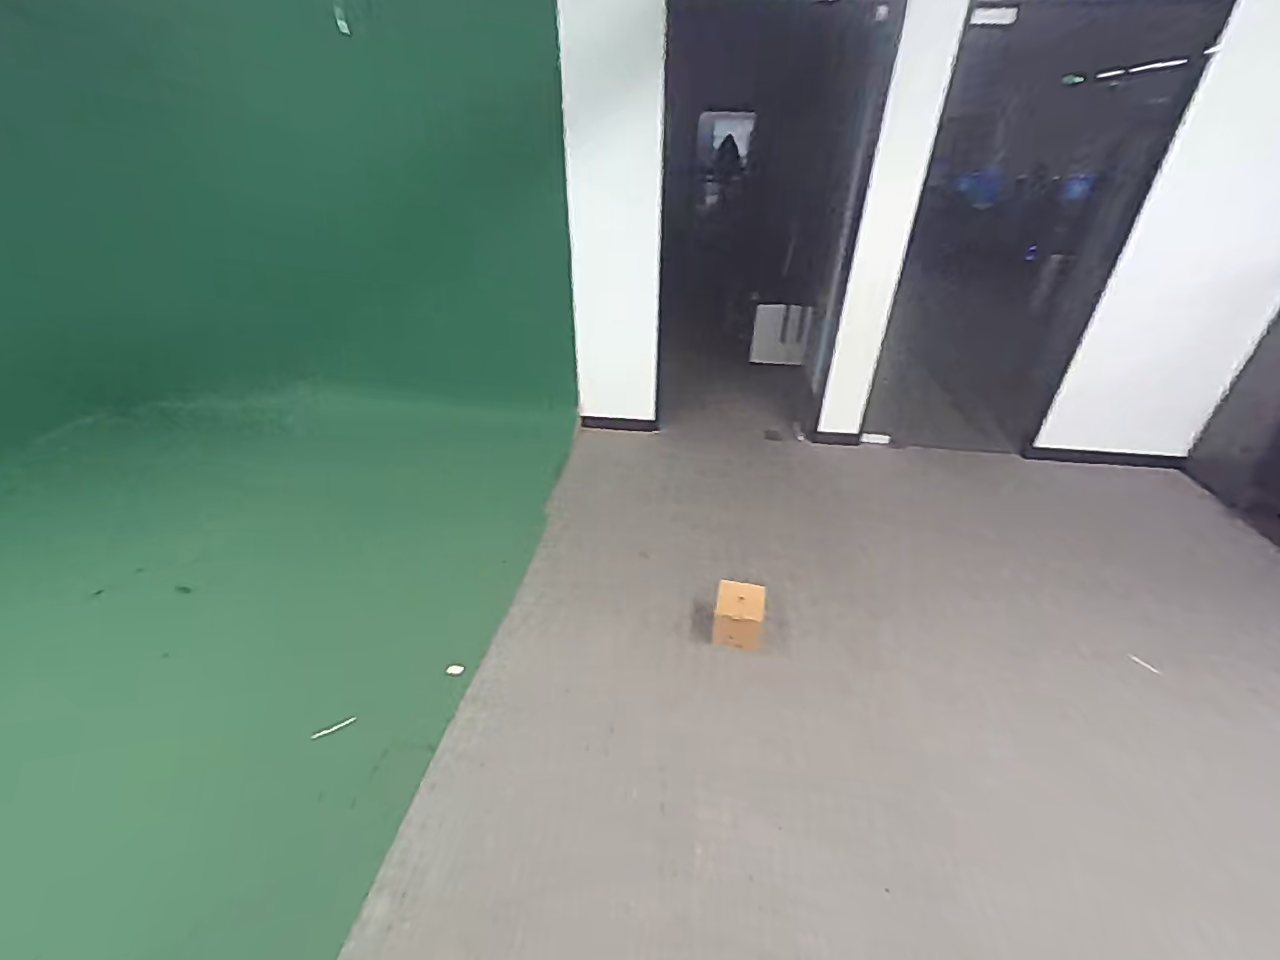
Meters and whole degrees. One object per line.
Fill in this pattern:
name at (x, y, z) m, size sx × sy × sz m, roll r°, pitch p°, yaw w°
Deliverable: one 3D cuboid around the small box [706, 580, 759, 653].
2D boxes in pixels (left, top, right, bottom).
small box at (0.334, 0.494, 1.960) m, size 0.168 × 0.176 × 0.179 m, roll 8°, pitch 34°, yaw 10°
